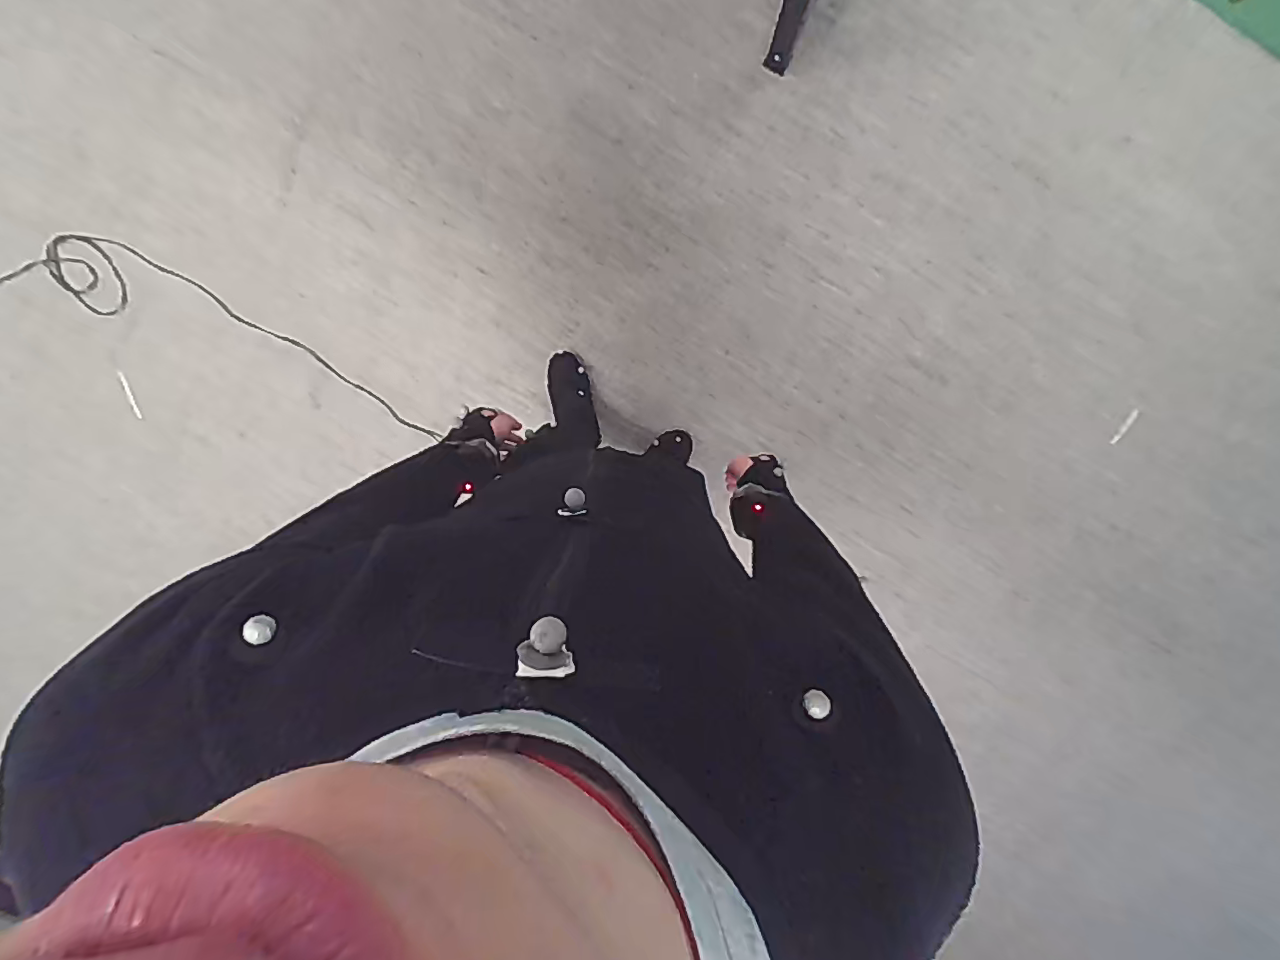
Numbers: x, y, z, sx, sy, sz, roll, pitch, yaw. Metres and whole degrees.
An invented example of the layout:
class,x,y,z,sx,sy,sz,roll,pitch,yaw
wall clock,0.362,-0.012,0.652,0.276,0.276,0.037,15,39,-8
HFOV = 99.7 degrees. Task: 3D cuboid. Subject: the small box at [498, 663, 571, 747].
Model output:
class,x,y,z,sx,sy,sz,roll,pitch,yaw
small box,-0.310,0.663,1.616,0.168,0.176,0.179,-6,102,5
